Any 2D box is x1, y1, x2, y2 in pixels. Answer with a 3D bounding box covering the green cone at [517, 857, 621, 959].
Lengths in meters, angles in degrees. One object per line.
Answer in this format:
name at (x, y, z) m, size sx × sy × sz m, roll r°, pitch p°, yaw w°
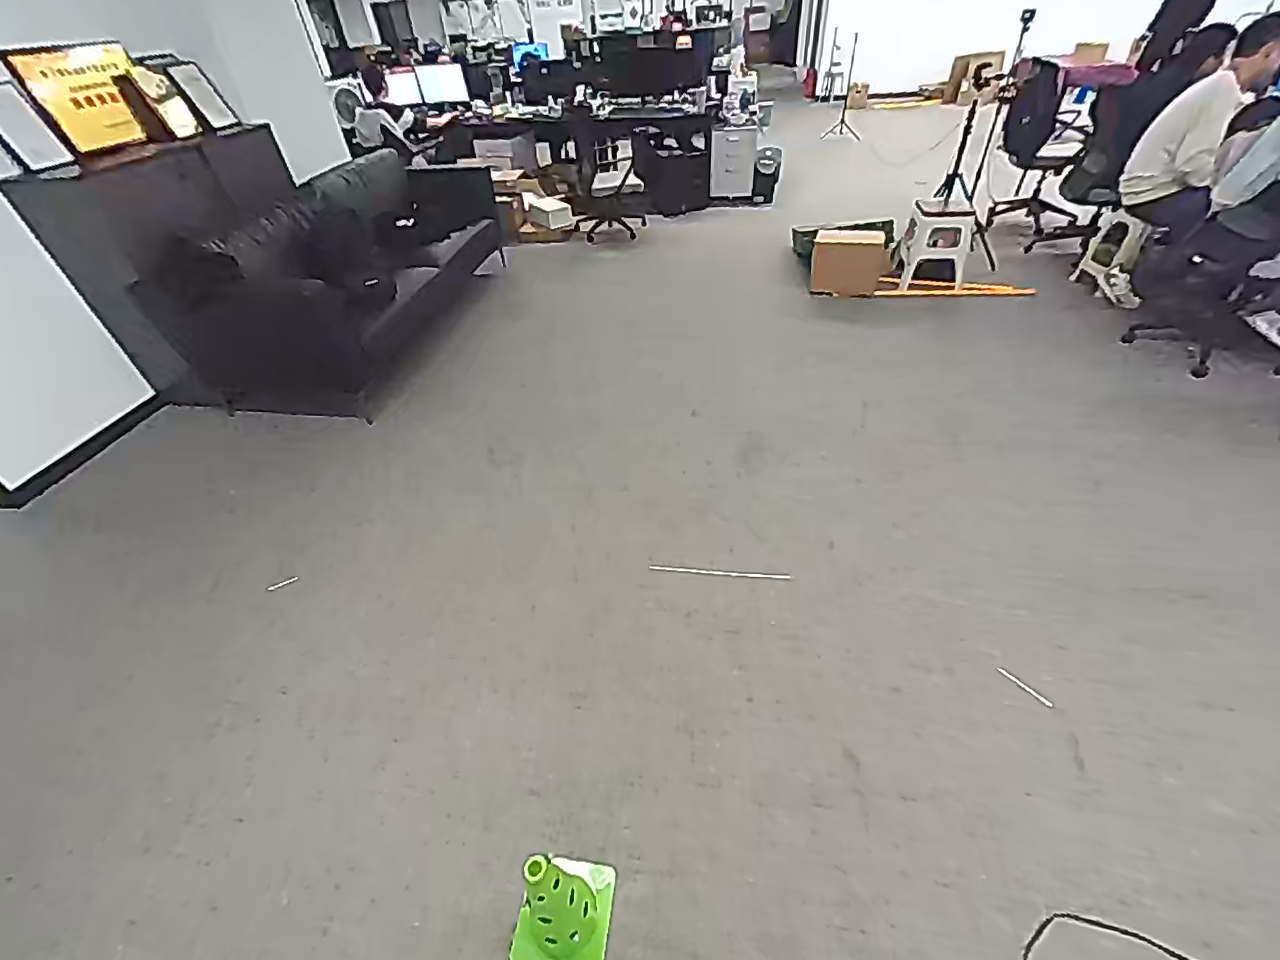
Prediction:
green cone at (-0.160, 0.826, 1.069) m, size 0.202 × 0.368 × 0.200 m, roll 3°, pitch 42°, yaw 7°
